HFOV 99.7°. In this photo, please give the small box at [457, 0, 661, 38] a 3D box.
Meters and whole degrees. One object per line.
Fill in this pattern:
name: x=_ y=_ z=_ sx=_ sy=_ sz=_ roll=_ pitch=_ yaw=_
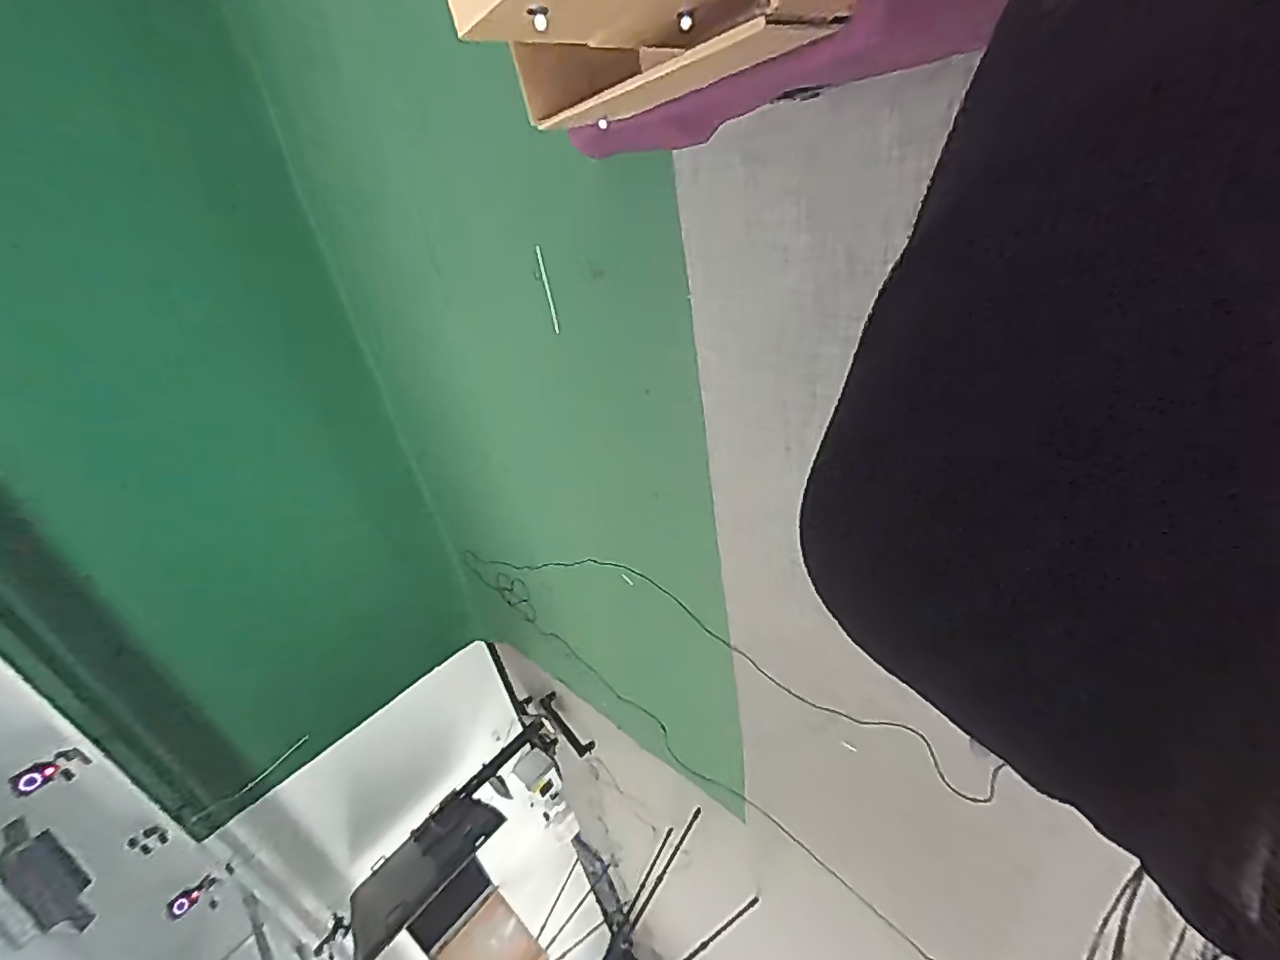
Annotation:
small box: x=-0.069 y=-0.524 z=0.484 sx=0.179 sy=0.176 sz=0.168 roll=15 pitch=128 yaw=43
